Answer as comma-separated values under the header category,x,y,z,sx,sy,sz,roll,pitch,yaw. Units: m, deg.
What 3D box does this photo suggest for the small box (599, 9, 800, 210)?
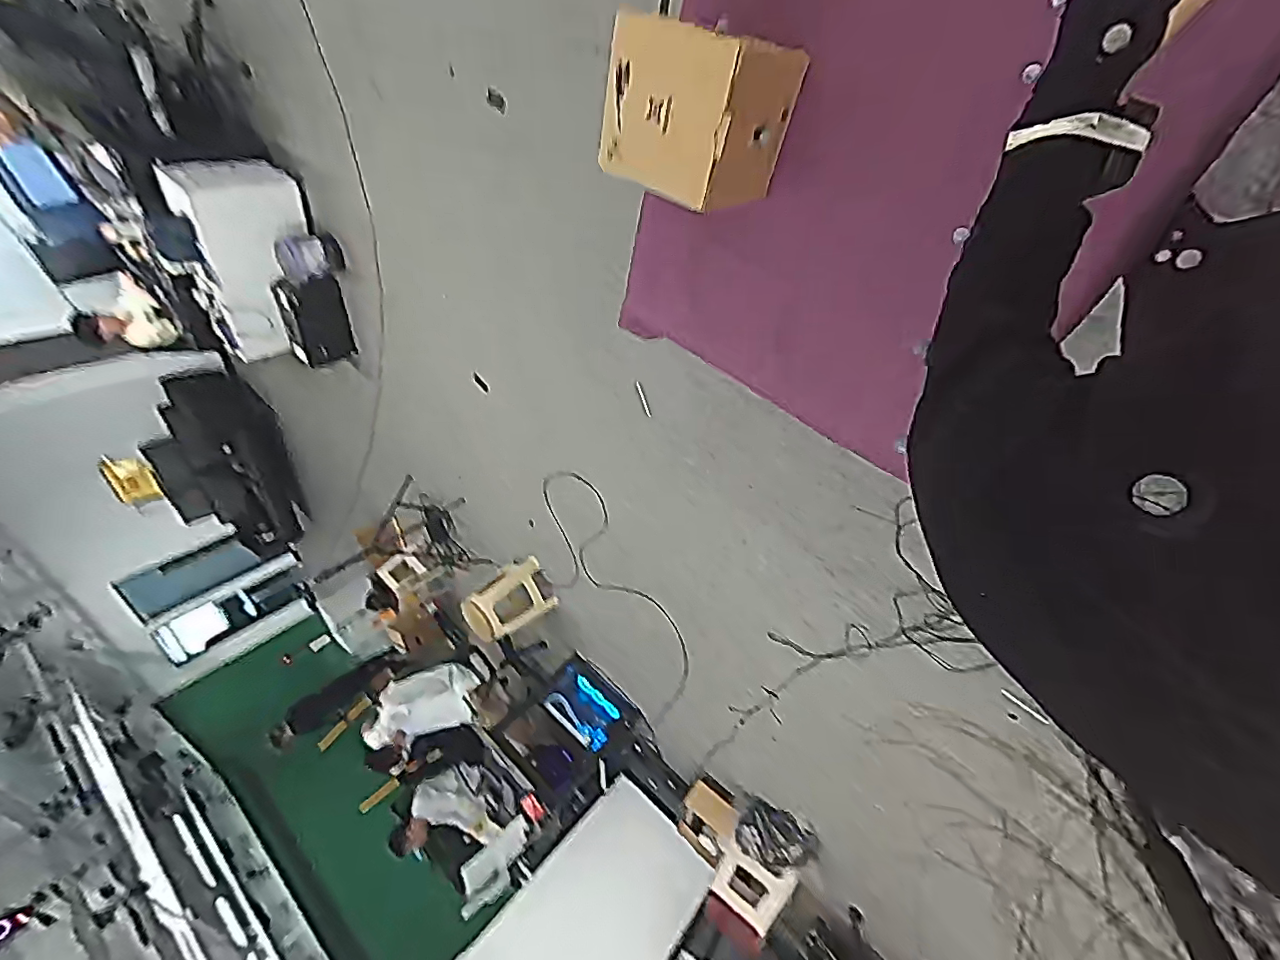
category,x,y,z,sx,sy,sz,roll,pitch,yaw
small box,0.075,-0.470,0.689,0.179,0.176,0.168,35,136,21
